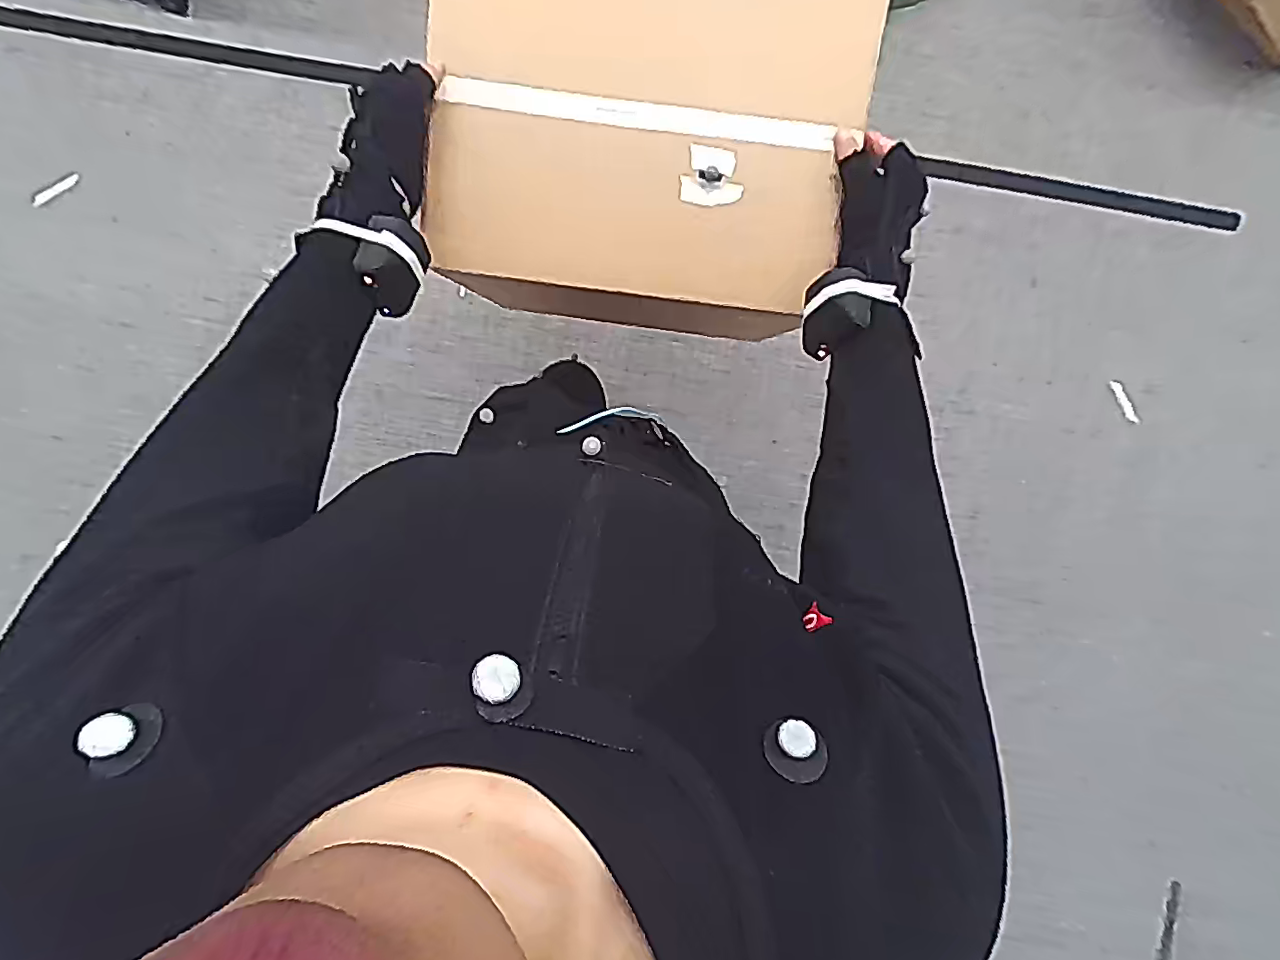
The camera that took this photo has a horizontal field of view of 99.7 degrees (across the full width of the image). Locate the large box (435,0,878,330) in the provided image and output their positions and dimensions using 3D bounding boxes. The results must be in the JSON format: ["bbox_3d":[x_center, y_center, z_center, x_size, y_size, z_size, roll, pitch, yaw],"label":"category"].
[{"bbox_3d":[0.006,-0.373,0.658,0.408,0.320,0.320,7,101,-2],"label":"large box"}]
